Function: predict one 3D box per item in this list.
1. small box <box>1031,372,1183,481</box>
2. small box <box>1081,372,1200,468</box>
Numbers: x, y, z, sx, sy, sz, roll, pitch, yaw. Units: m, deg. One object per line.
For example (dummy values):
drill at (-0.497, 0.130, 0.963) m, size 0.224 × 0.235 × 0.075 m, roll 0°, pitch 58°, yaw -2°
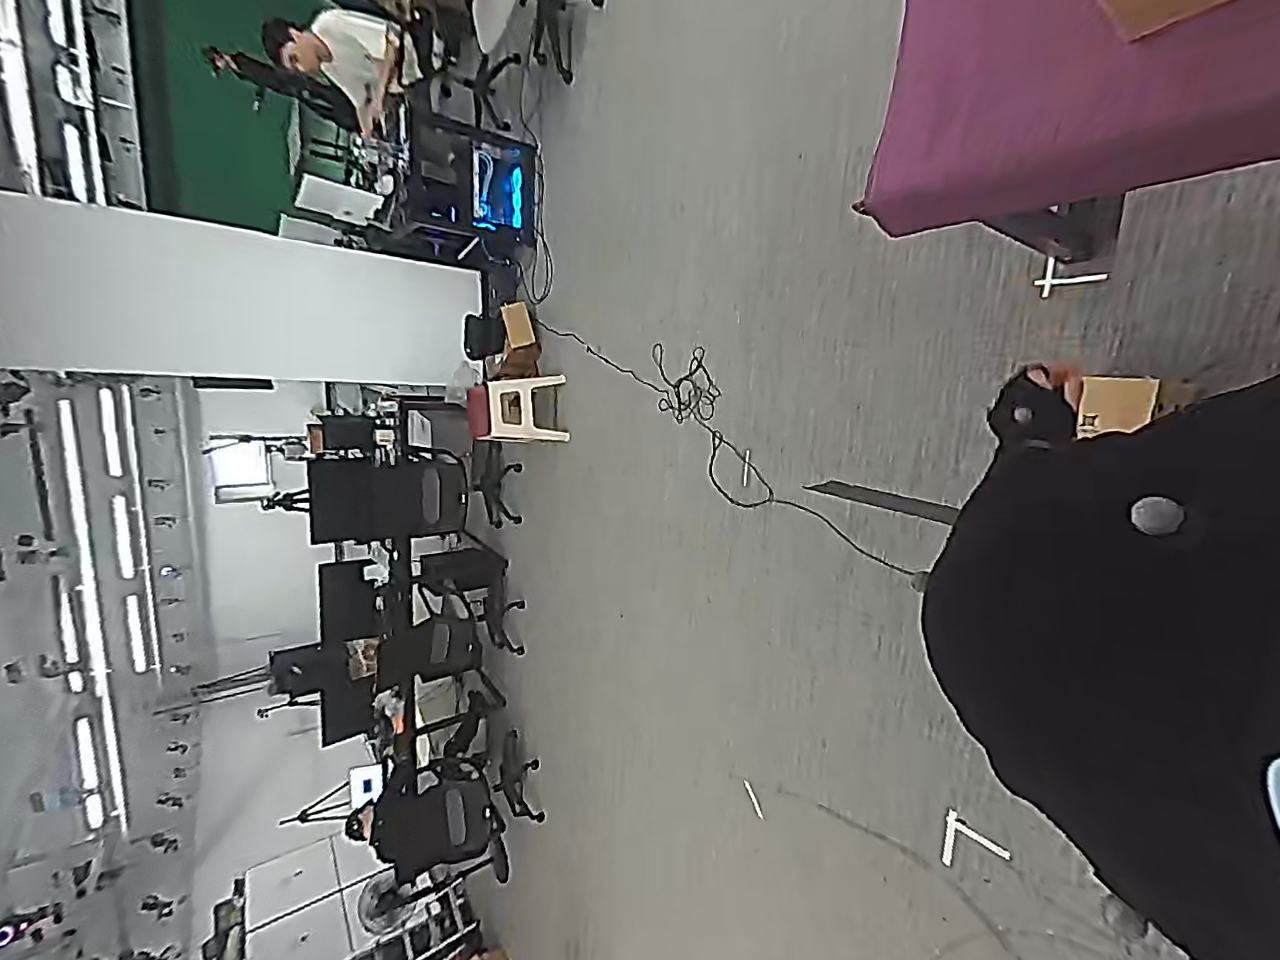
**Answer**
small box at (0.869, -0.105, 1.006) m, size 0.168 × 0.176 × 0.179 m, roll 19°, pitch 109°, yaw 52°
small box at (0.998, -0.121, 1.108) m, size 0.168 × 0.176 × 0.179 m, roll 26°, pitch 114°, yaw 49°
